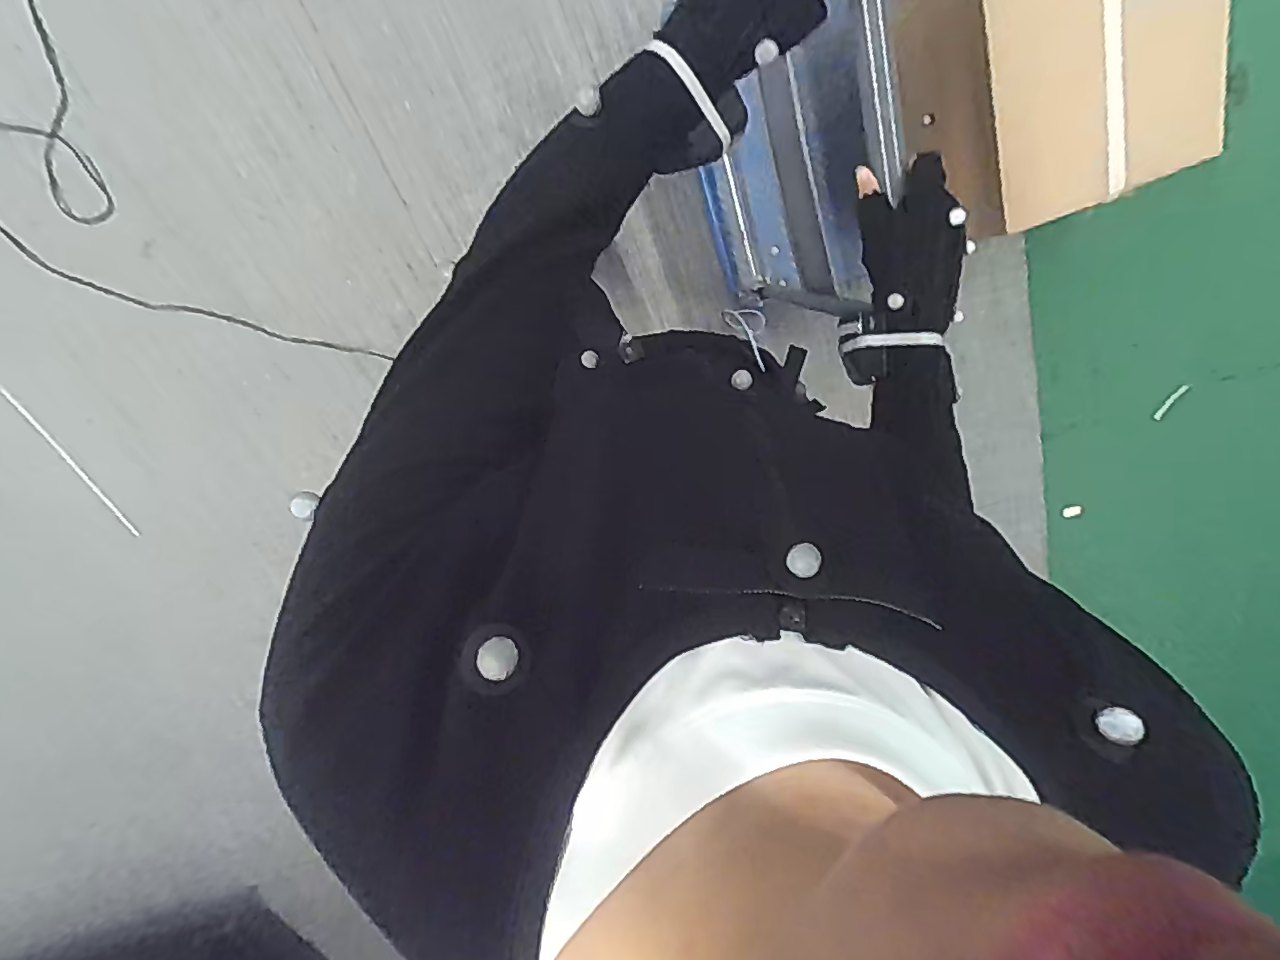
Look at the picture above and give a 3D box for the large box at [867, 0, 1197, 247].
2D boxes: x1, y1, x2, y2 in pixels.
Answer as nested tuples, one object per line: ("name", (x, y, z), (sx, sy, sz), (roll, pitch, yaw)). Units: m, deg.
("large box", (0.619, -0.648, 0.897), (0.320, 0.320, 0.408), (-19, 111, 7))
